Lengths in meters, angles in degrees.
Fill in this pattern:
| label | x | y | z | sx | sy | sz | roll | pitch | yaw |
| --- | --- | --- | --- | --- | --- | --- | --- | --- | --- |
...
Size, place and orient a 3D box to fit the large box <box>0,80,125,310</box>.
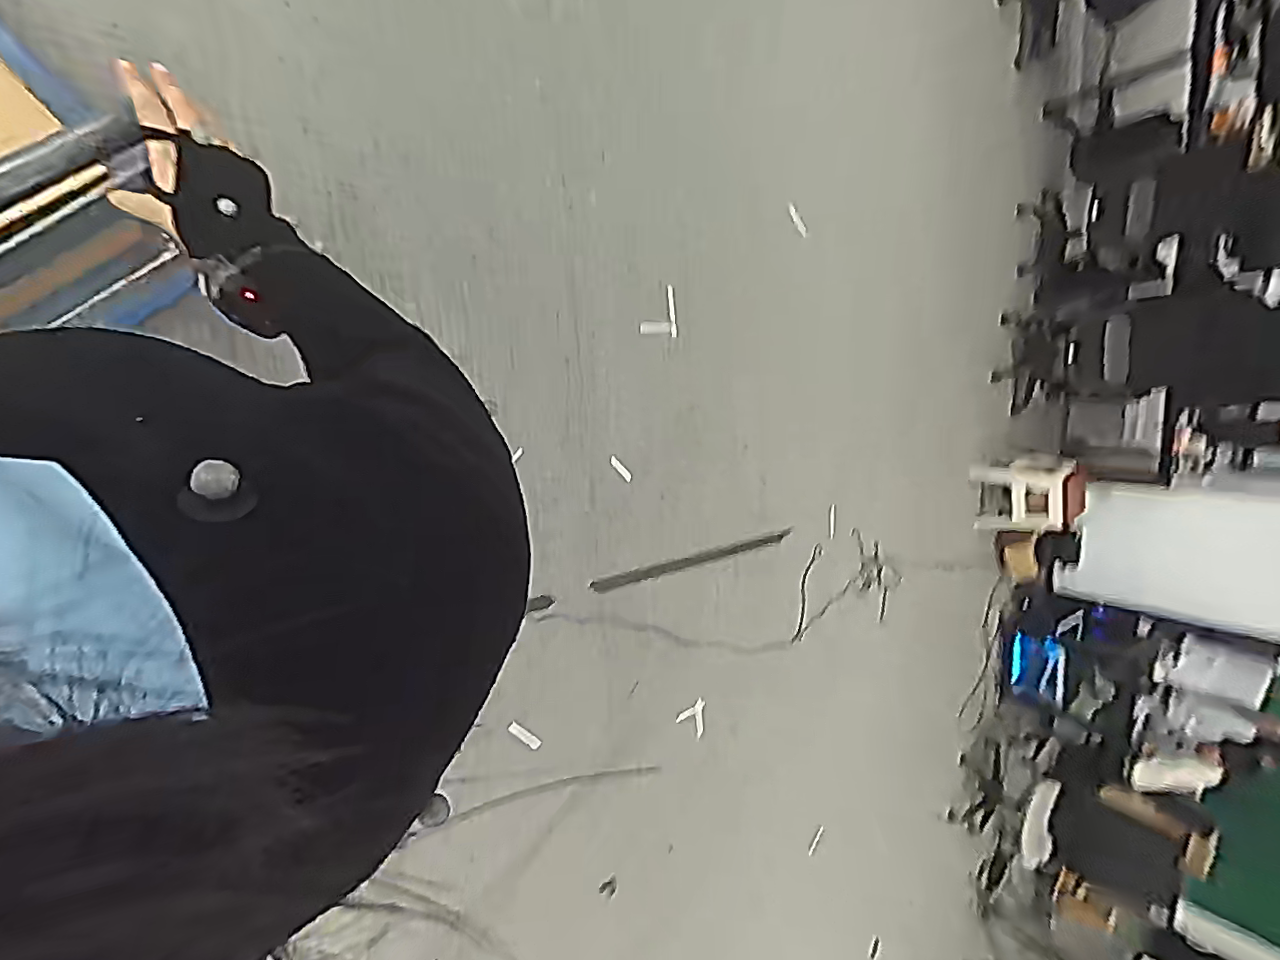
| label | x | y | z | sx | sy | sz | roll | pitch | yaw |
| --- | --- | --- | --- | --- | --- | --- | --- | --- | --- |
| large box | -1.022 | -0.390 | 0.701 | 0.408 | 0.320 | 0.320 | -50 | 121 | -22 |
